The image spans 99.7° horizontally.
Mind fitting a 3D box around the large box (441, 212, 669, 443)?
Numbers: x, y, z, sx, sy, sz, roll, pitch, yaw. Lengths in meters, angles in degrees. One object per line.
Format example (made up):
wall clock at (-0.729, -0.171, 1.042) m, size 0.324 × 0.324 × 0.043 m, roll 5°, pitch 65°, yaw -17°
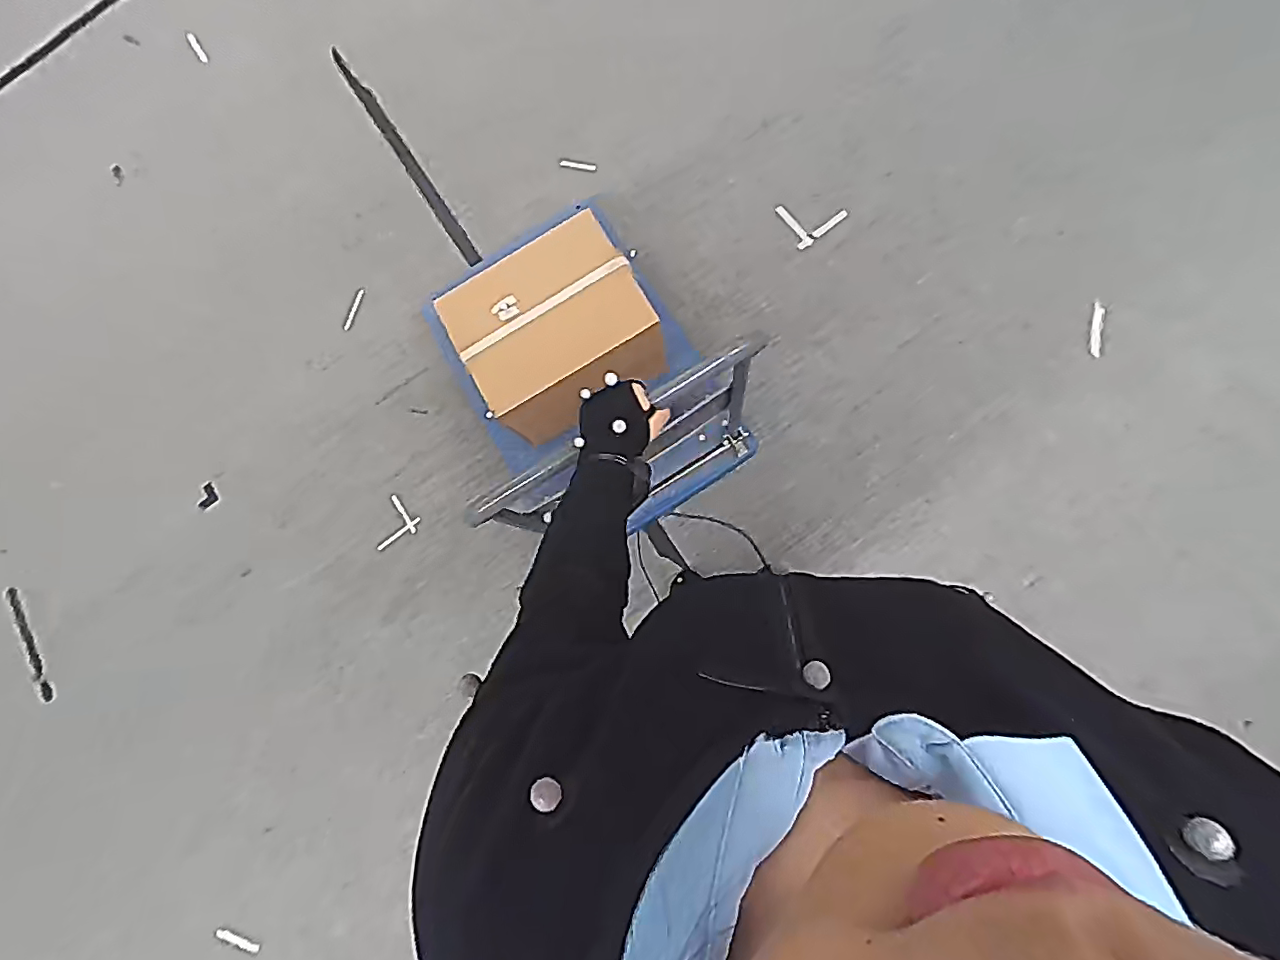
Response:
large box at (-0.183, -0.343, 1.315) m, size 0.408 × 0.320 × 0.320 m, roll -31°, pitch 78°, yaw 3°
